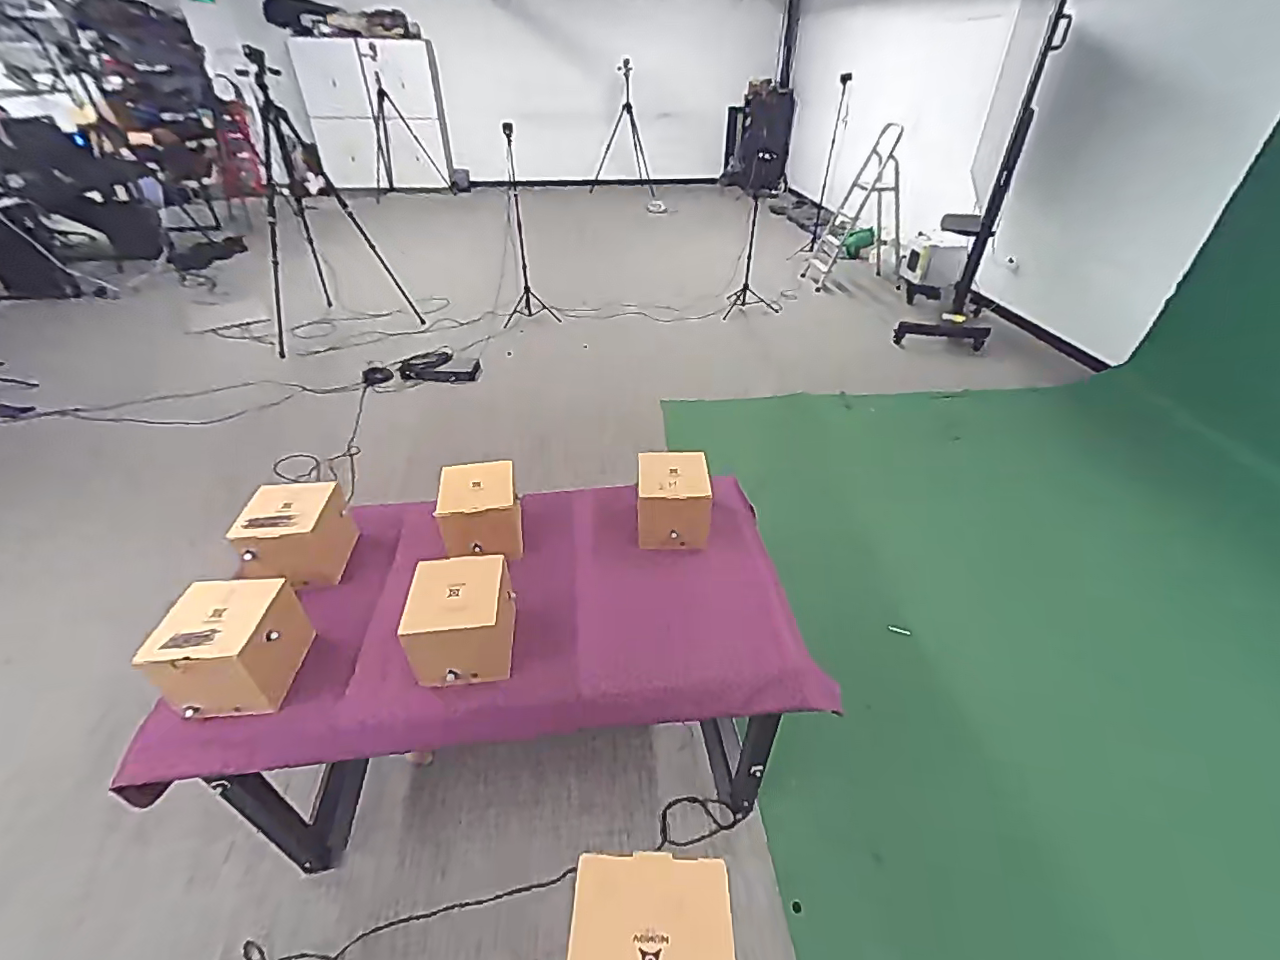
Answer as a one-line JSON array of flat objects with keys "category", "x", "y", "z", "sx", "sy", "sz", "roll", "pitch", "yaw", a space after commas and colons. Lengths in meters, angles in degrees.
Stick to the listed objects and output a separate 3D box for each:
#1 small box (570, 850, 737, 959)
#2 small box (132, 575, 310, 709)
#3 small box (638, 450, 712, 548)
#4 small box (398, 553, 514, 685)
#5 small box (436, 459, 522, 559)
[{"category": "small box", "x": 0.012, "y": 0.532, "z": 0.571, "sx": 0.168, "sy": 0.176, "sz": 0.179, "roll": 1, "pitch": 30, "yaw": 1}, {"category": "small box", "x": -0.732, "y": 0.295, "z": 0.975, "sx": 0.168, "sy": 0.176, "sz": 0.179, "roll": -1, "pitch": 37, "yaw": -4}, {"category": "small box", "x": 0.078, "y": 0.045, "z": 1.315, "sx": 0.168, "sy": 0.176, "sz": 0.179, "roll": -1, "pitch": 39, "yaw": -1}, {"category": "small box", "x": -0.337, "y": 0.263, "z": 1.030, "sx": 0.168, "sy": 0.176, "sz": 0.179, "roll": -4, "pitch": 38, "yaw": -5}, {"category": "small box", "x": -0.372, "y": 0.072, "z": 1.275, "sx": 0.168, "sy": 0.176, "sz": 0.179, "roll": -6, "pitch": 40, "yaw": -10}]
